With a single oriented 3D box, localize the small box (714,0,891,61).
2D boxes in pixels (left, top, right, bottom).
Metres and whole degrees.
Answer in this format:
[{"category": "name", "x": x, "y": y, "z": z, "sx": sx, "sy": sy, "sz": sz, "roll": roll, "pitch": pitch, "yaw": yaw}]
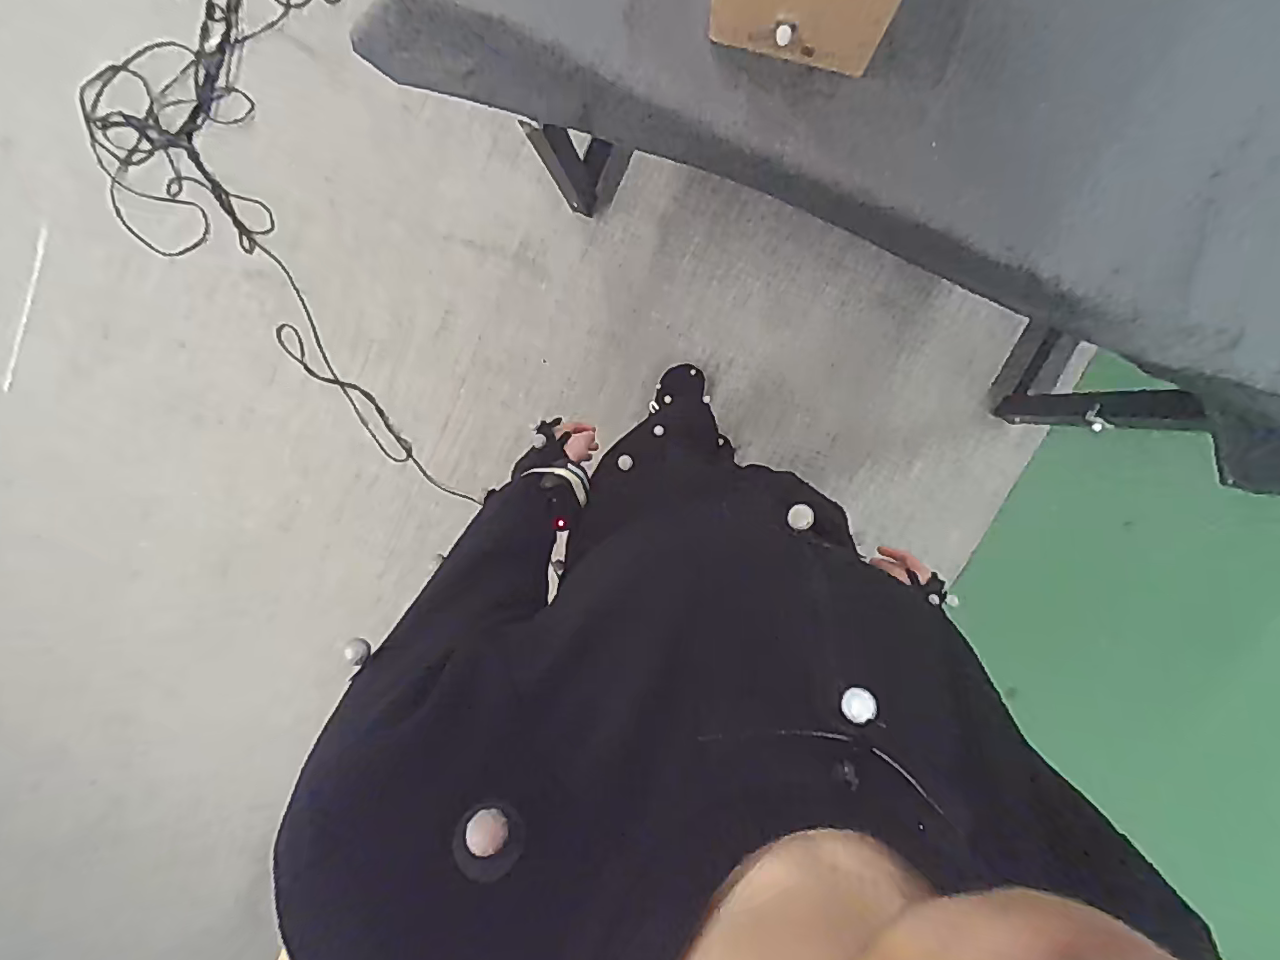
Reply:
[{"category": "small box", "x": 0.165, "y": -0.521, "z": 0.467, "sx": 0.168, "sy": 0.176, "sz": 0.179, "roll": 16, "pitch": 100, "yaw": 3}]
